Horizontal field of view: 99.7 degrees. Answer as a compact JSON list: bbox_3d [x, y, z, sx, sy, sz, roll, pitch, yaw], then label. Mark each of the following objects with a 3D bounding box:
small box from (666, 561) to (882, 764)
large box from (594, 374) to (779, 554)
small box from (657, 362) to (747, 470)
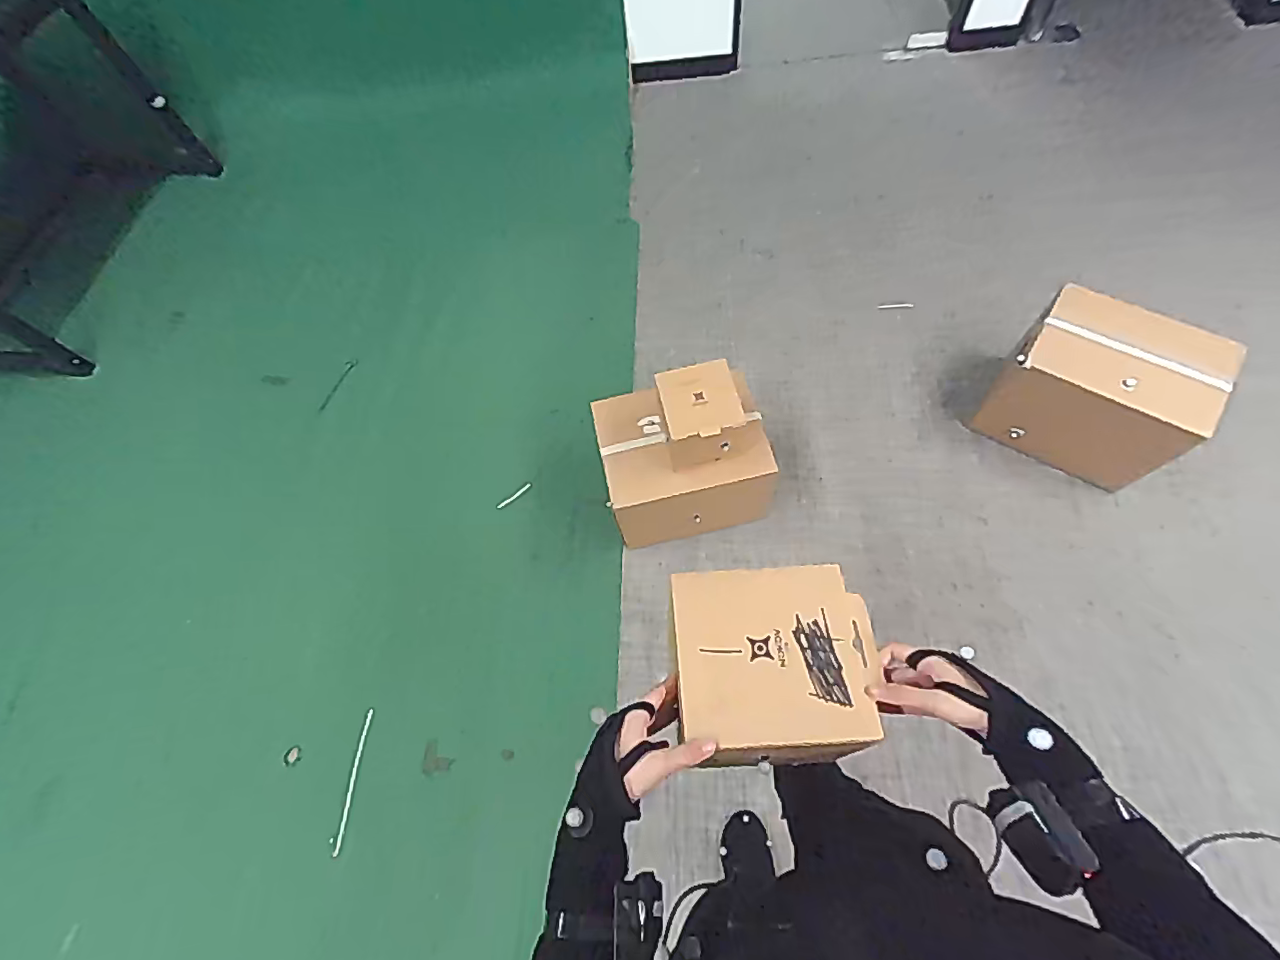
[{"bbox_3d":[0.120,0.197,0.571,0.179,0.176,0.168,-3,56,0],"label":"small box"},{"bbox_3d":[0.121,-0.030,1.463,0.408,0.320,0.320,-14,62,1],"label":"large box"},{"bbox_3d":[0.140,-0.136,1.237,0.168,0.176,0.179,-13,64,0],"label":"small box"}]
